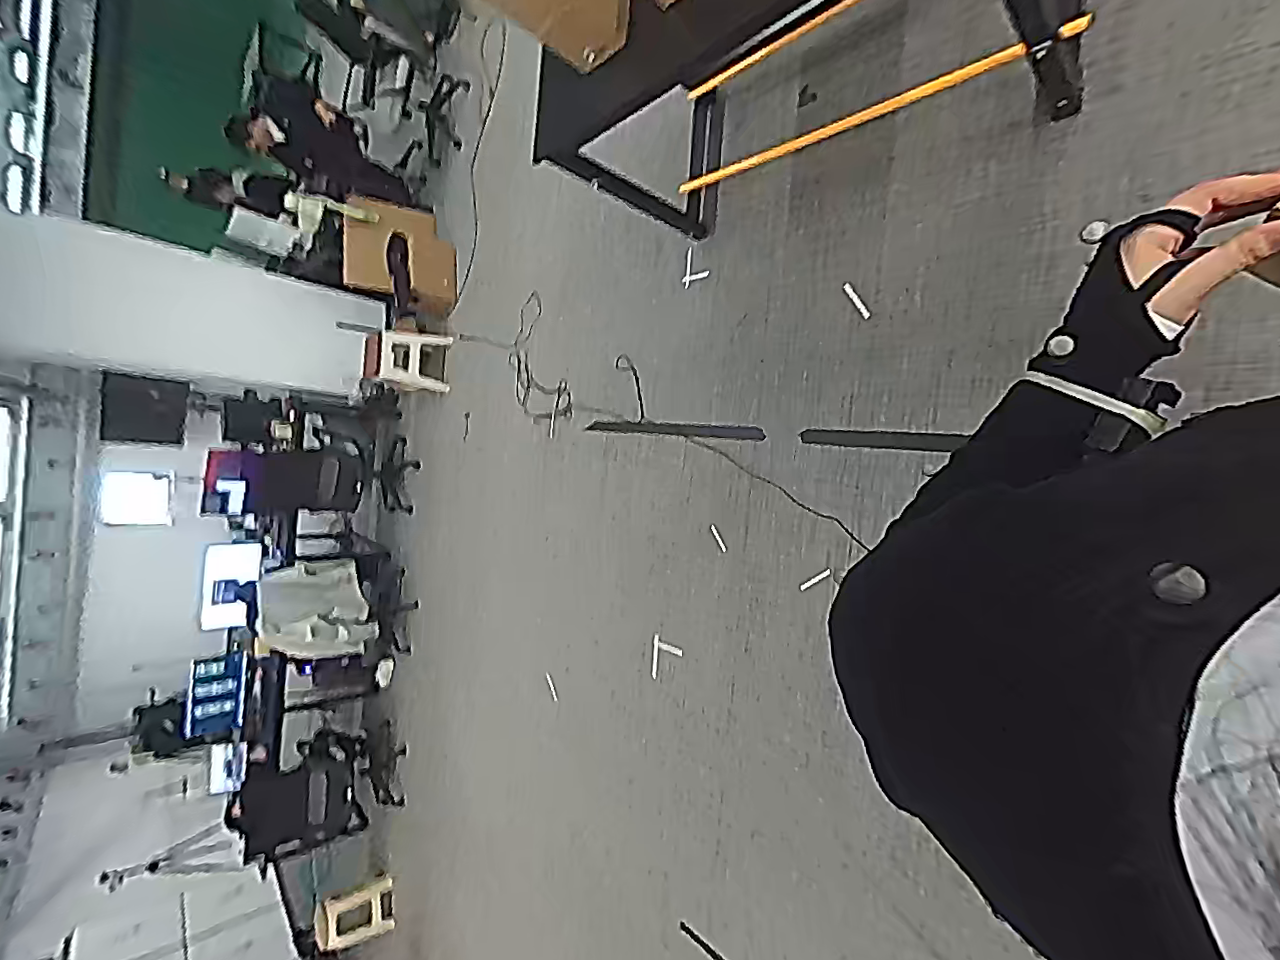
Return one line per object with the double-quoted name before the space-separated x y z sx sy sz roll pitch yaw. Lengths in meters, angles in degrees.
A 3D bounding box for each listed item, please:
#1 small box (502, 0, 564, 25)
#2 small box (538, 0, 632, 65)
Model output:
"small box" -0.250 -1.183 1.208 0.179 0.176 0.168 6 91 47
"small box" -0.129 -1.176 1.319 0.168 0.176 0.179 7 93 48
